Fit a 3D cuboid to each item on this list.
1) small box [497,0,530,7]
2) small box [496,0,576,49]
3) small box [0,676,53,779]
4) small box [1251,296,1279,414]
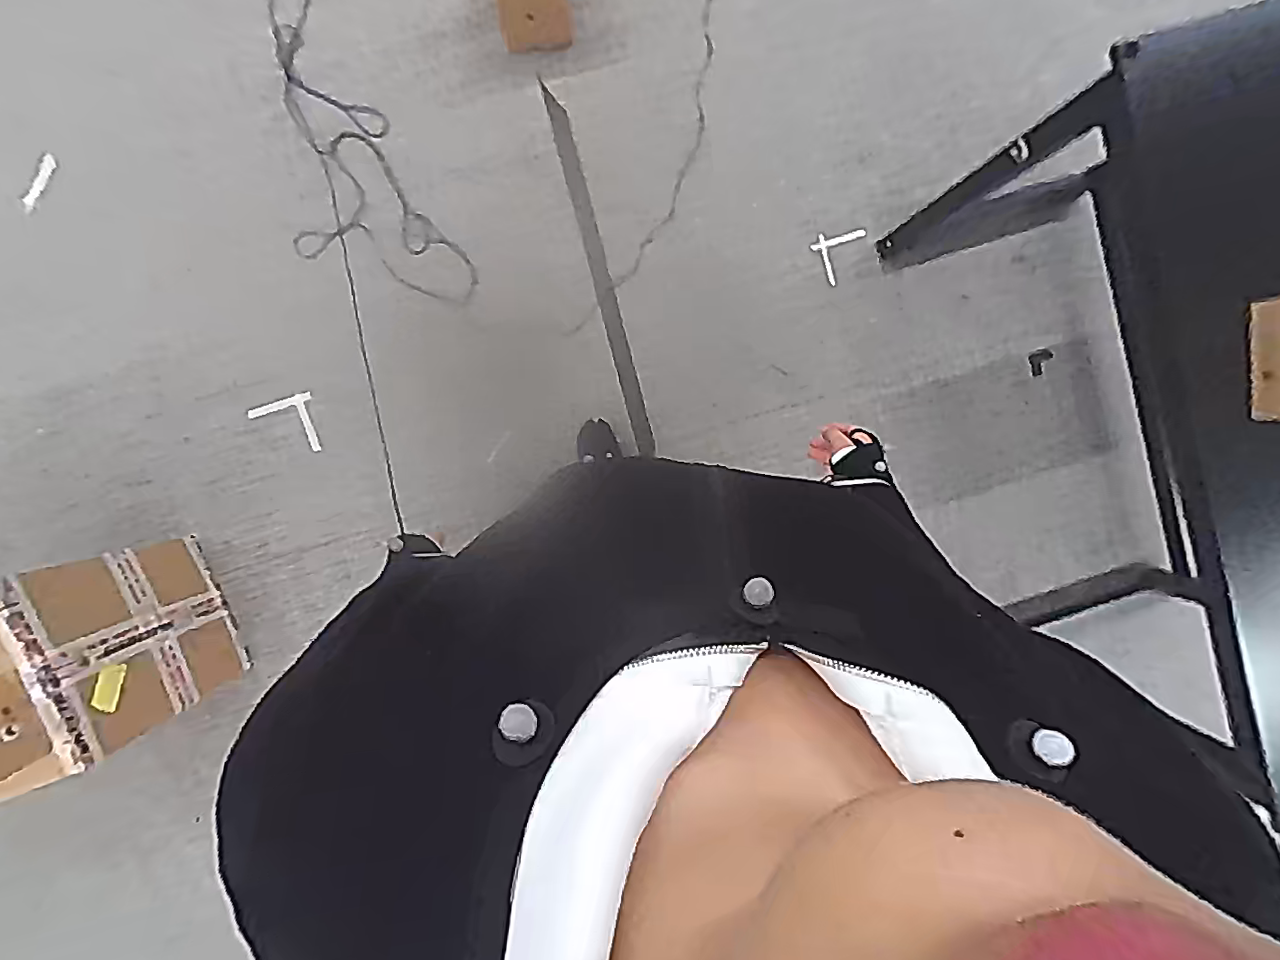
[{"bbox_3d":[-0.252,-1.160,1.139,0.179,0.176,0.168,-16,95,-1],"label":"small box"},{"bbox_3d":[-0.258,-1.186,1.302,0.179,0.176,0.168,-10,95,-1],"label":"small box"},{"bbox_3d":[-1.185,0.466,0.909,0.179,0.176,0.168,-28,97,-5],"label":"small box"},{"bbox_3d":[0.968,-0.177,0.706,0.179,0.176,0.168,-6,95,-3],"label":"small box"}]
